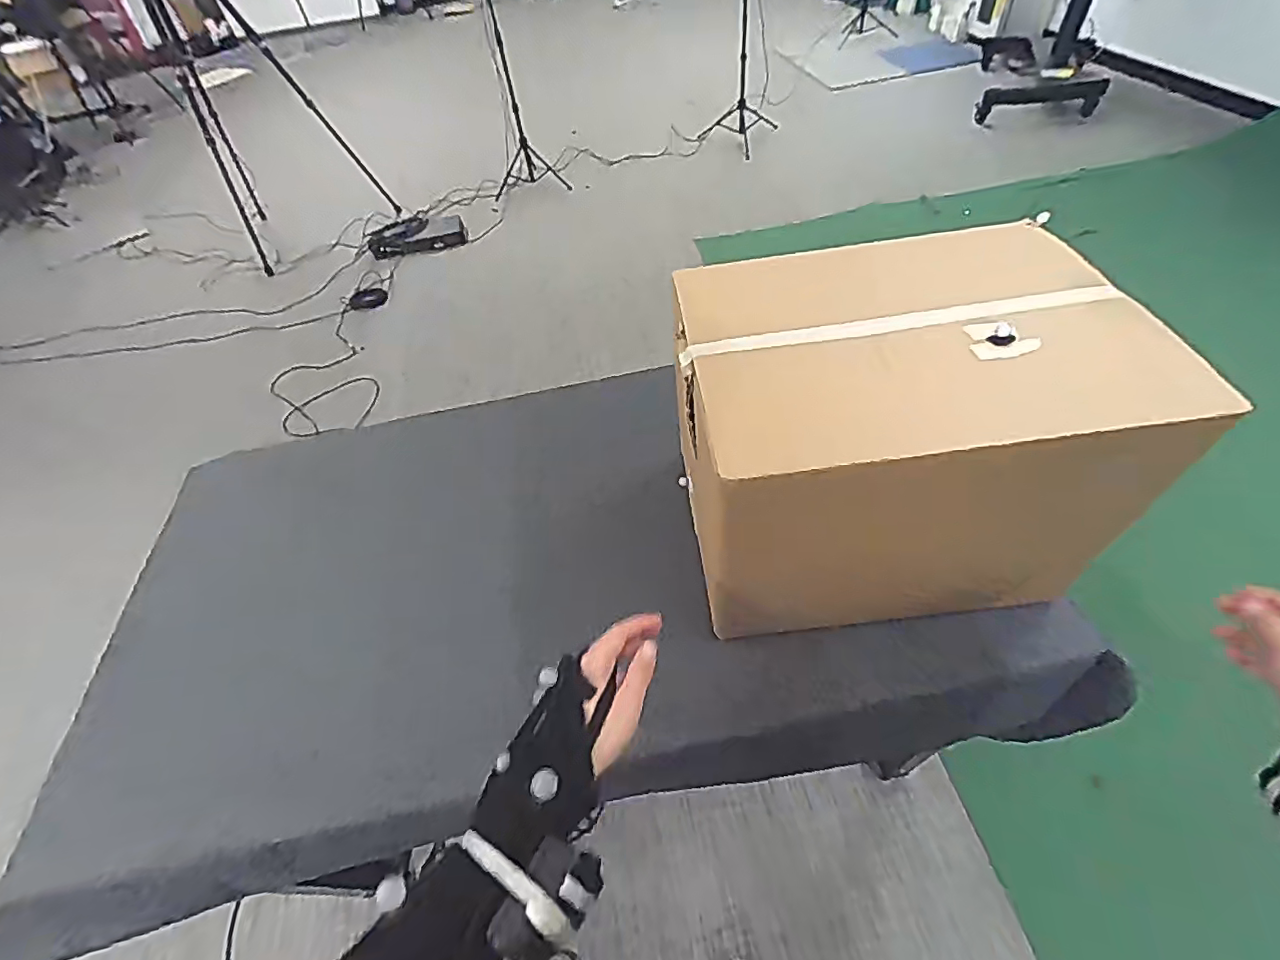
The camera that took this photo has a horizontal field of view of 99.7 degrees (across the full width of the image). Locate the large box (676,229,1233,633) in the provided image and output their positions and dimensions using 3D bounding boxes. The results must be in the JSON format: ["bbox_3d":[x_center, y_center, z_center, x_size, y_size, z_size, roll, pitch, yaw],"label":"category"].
[{"bbox_3d":[0.263,-0.048,0.628,0.408,0.320,0.320,-7,51,1],"label":"large box"}]
